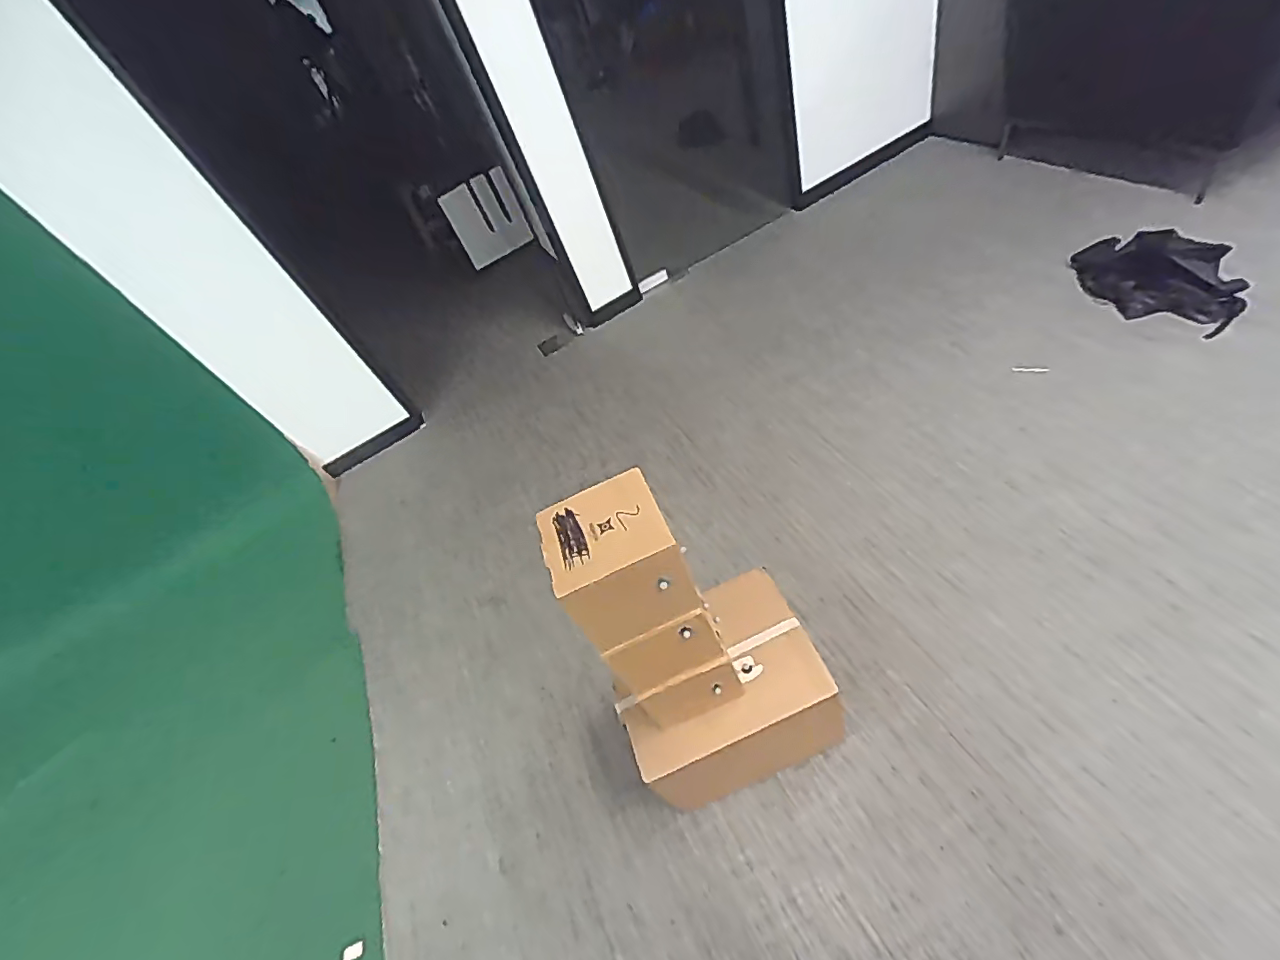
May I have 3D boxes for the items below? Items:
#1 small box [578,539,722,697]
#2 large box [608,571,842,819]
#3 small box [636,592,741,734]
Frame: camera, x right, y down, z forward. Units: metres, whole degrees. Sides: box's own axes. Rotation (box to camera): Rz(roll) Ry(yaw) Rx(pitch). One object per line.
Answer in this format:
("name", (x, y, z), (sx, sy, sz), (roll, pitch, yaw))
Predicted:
("small box", (0.018, 0.240, 0.922), (0.179, 0.176, 0.168), (-25, 44, -1))
("large box", (0.187, 0.481, 1.204), (0.408, 0.320, 0.320), (-25, 46, -1))
("small box", (0.078, 0.350, 1.026), (0.179, 0.176, 0.168), (-26, 44, 1))
